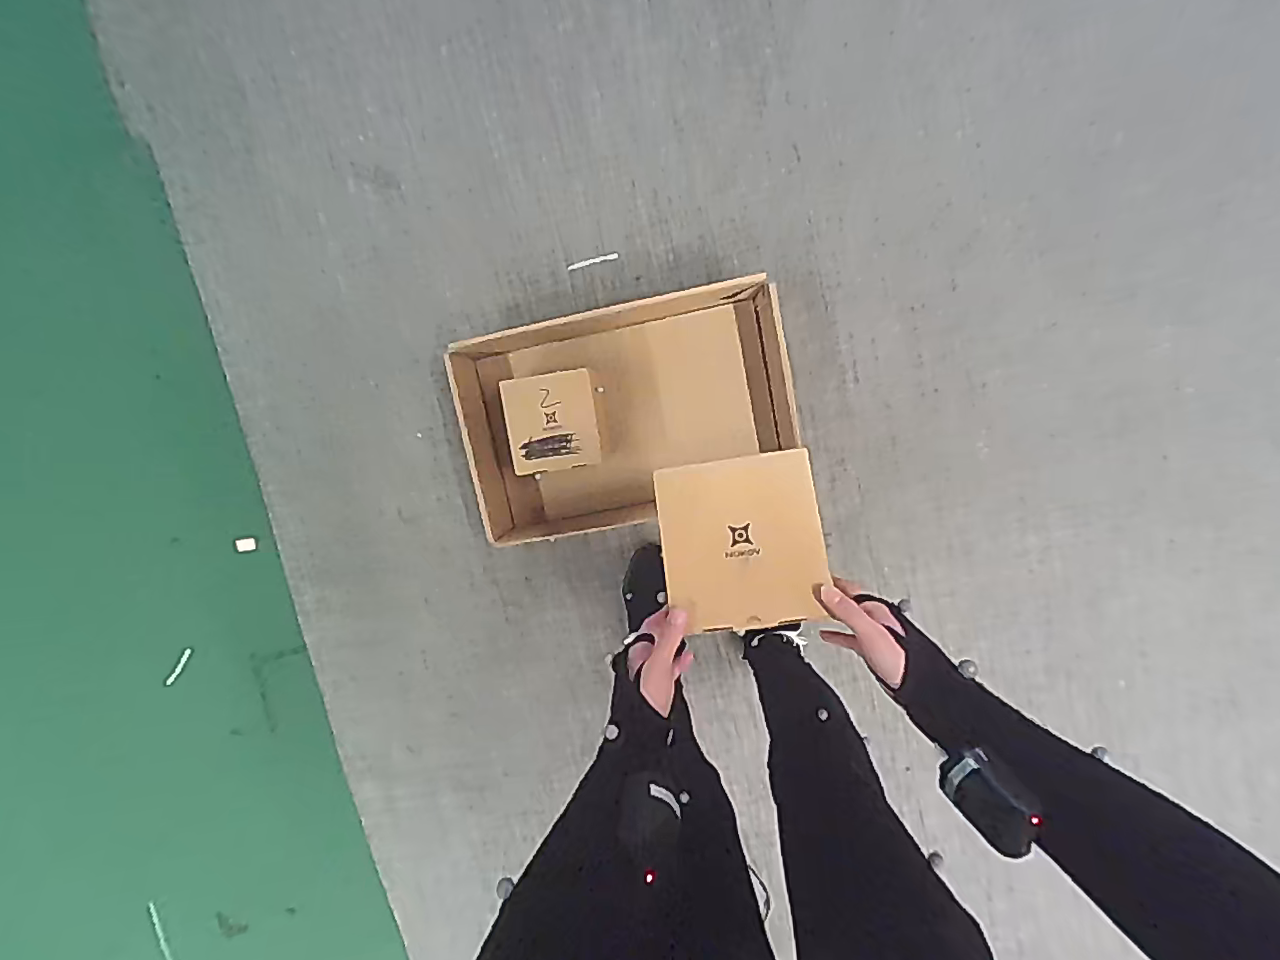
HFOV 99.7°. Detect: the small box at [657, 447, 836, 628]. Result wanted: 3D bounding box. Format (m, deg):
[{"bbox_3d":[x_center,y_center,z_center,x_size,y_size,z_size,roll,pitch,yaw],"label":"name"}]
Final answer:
[{"bbox_3d":[0.116,0.075,0.635,0.168,0.176,0.179,-8,77,7],"label":"small box"}]
